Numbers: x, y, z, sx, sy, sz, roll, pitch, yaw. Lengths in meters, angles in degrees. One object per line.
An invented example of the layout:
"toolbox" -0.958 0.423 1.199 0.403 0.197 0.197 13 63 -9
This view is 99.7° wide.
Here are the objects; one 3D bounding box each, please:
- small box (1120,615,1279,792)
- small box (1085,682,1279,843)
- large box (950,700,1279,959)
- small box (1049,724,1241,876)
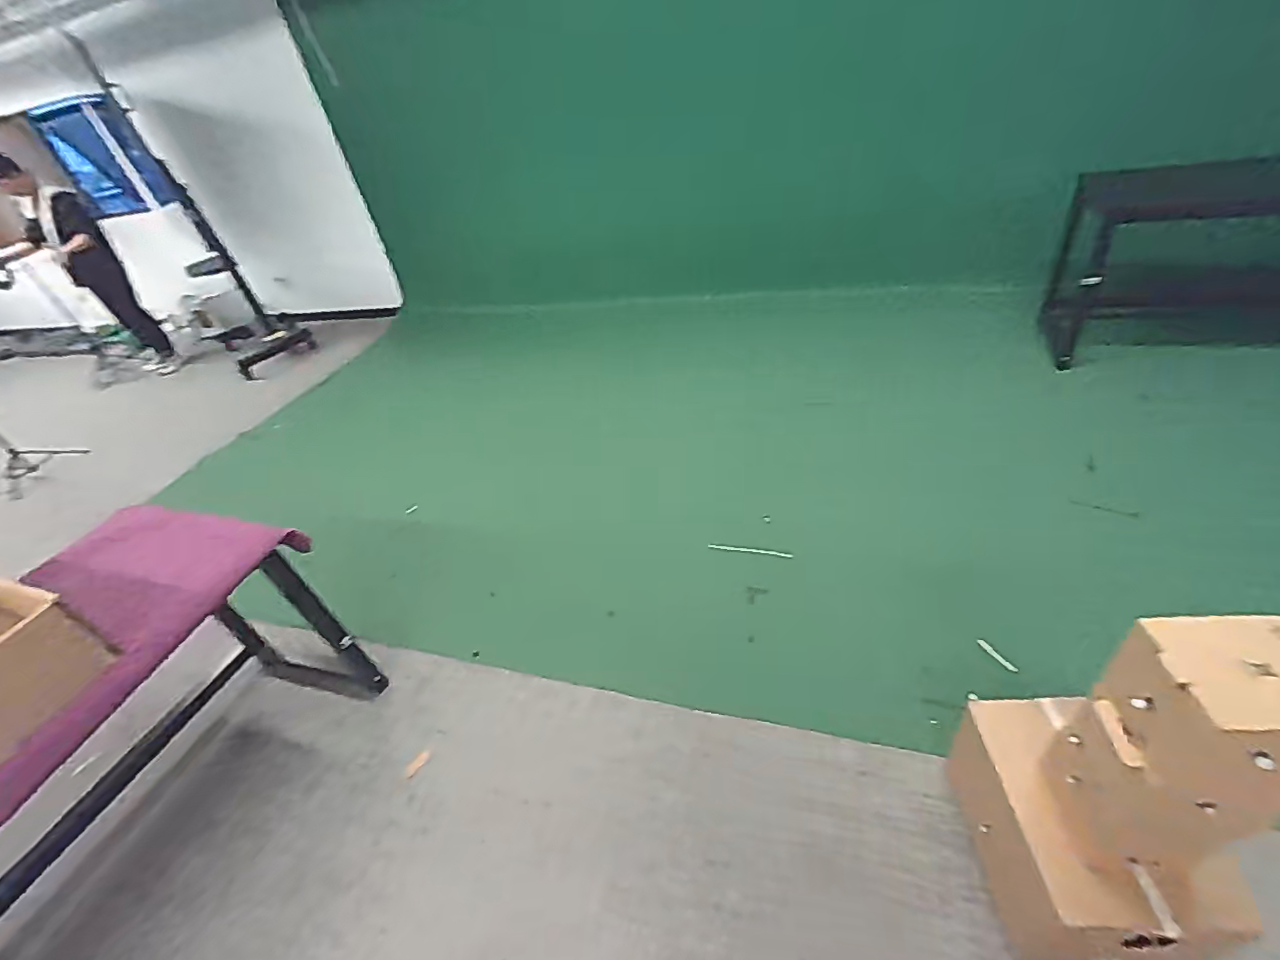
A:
"small box" 0.802 0.302 0.732 0.179 0.176 0.168 -5 39 13
"small box" 0.828 0.431 0.829 0.179 0.176 0.168 -3 39 14
"large box" 0.897 0.723 1.109 0.320 0.320 0.408 -5 37 8
"small box" 0.854 0.551 0.938 0.168 0.176 0.179 -4 39 12
